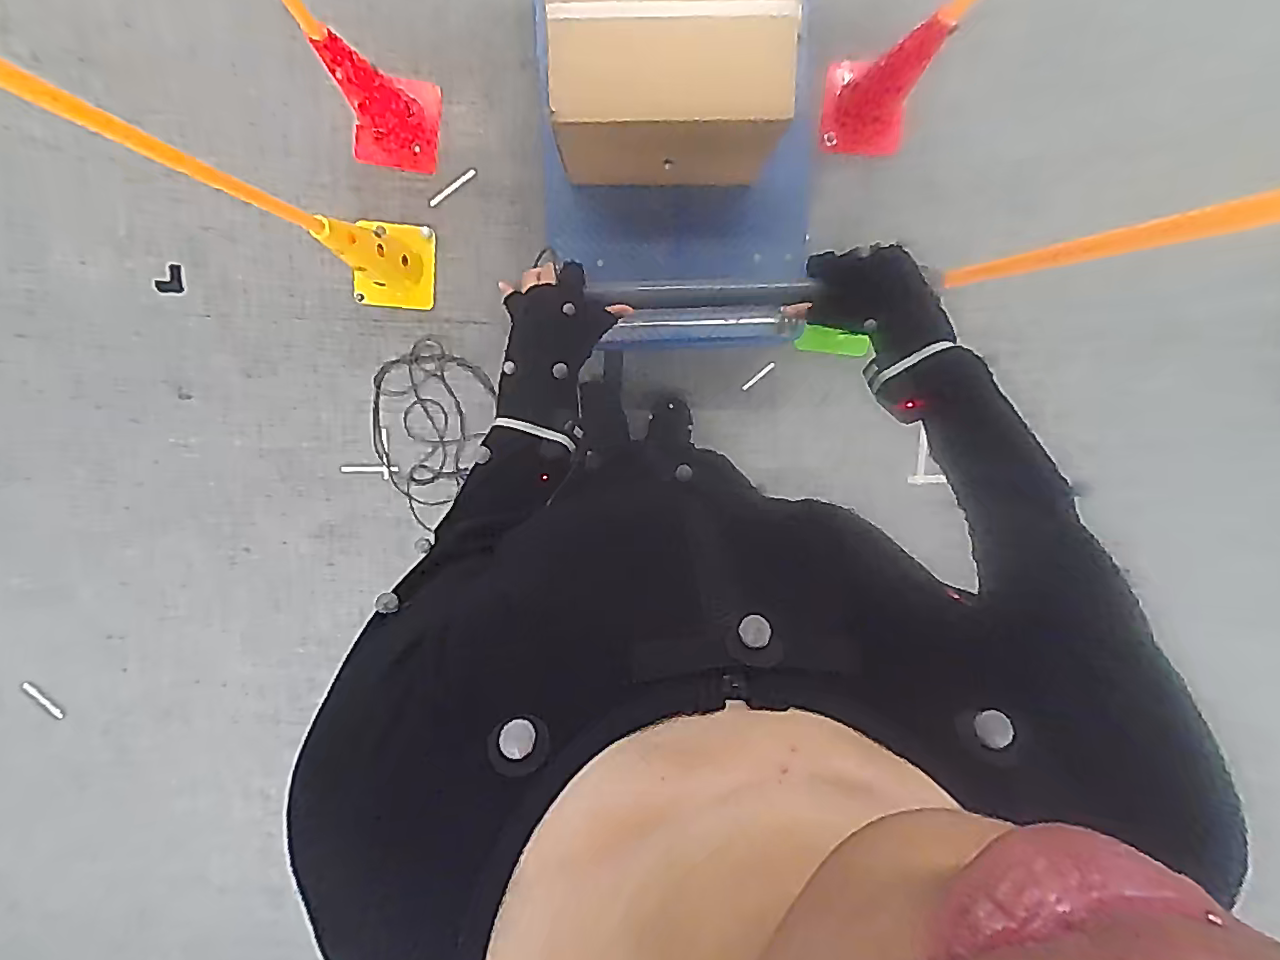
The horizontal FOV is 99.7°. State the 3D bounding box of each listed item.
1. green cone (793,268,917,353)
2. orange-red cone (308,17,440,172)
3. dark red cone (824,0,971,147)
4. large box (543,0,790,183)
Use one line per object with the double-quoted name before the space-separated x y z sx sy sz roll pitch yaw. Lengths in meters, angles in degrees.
"green cone" 0.513 -0.409 1.237 0.202 0.368 0.200 5 100 -4
"orange-red cone" -0.582 -0.835 1.133 0.198 0.360 0.199 9 98 -4
"dark red cone" 0.551 -0.882 1.135 0.201 0.394 0.202 1 101 -4
"large box" 0.044 -0.774 1.013 0.408 0.320 0.320 -1 101 0
